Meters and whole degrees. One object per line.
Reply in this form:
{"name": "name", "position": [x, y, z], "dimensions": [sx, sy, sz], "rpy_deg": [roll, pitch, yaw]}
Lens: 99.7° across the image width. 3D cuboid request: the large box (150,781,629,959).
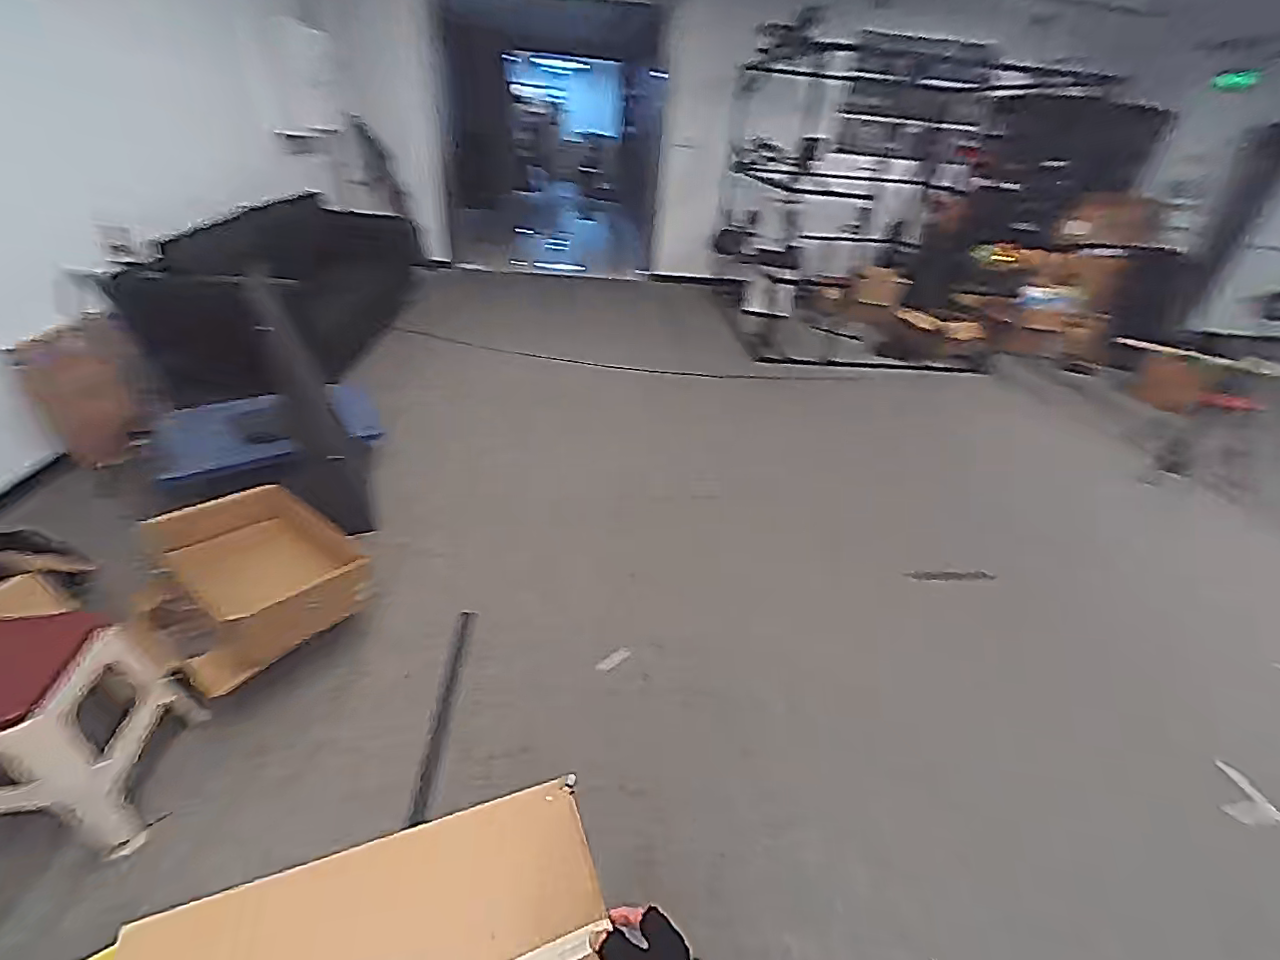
{"name": "large box", "position": [-0.221, 0.584, 0.534], "dimensions": [0.408, 0.320, 0.320], "rpy_deg": [-6, 36, -21]}
